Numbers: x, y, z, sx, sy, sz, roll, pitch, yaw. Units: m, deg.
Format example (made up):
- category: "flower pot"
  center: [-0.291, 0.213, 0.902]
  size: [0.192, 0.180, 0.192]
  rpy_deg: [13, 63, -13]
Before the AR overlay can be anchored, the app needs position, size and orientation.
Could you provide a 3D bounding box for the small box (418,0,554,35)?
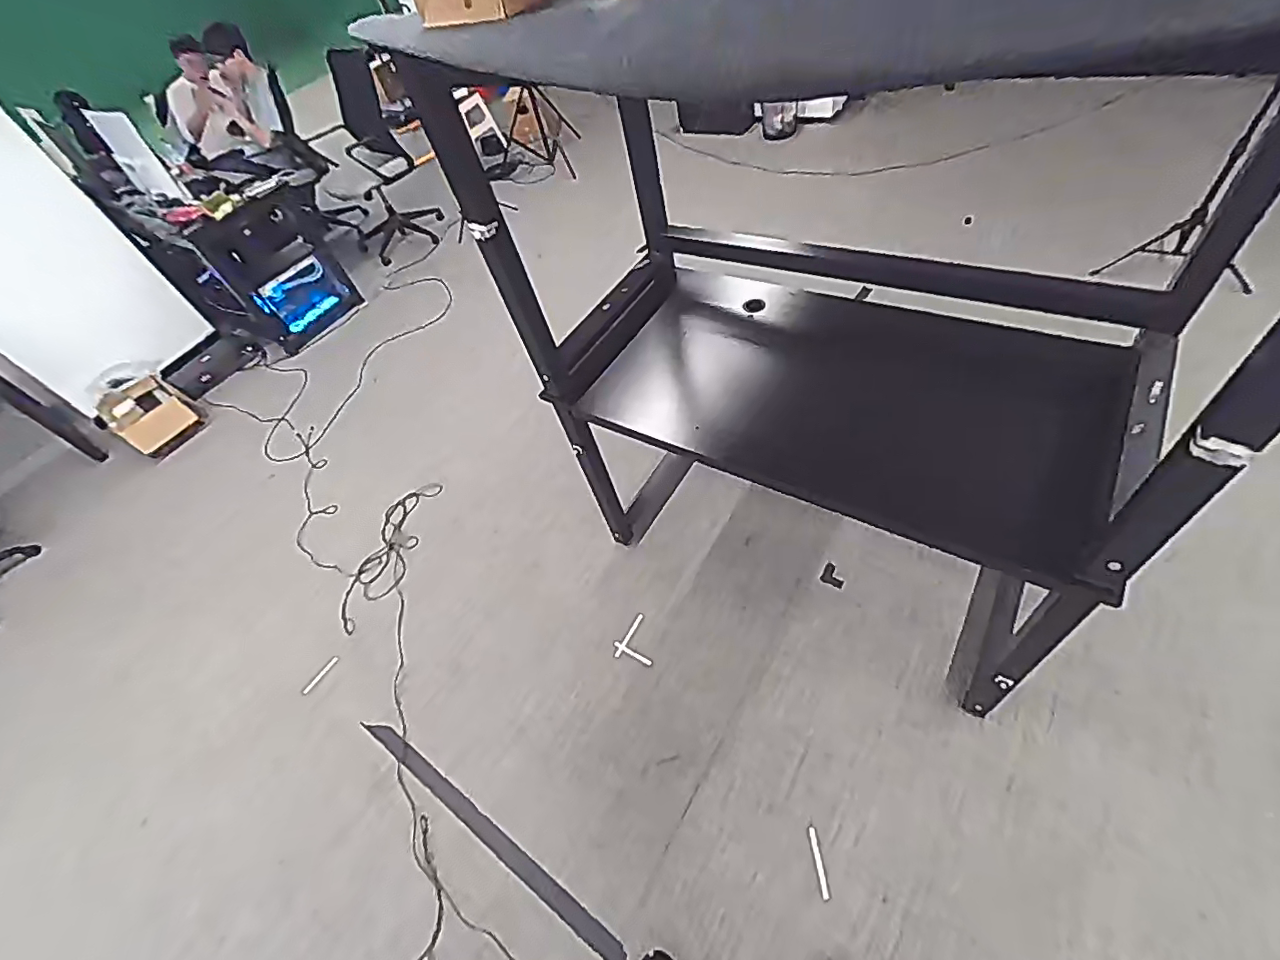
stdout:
- category: "small box"
  center: [-0.214, -0.729, 0.723]
  size: [0.168, 0.176, 0.179]
  rpy_deg: [18, 60, 26]
